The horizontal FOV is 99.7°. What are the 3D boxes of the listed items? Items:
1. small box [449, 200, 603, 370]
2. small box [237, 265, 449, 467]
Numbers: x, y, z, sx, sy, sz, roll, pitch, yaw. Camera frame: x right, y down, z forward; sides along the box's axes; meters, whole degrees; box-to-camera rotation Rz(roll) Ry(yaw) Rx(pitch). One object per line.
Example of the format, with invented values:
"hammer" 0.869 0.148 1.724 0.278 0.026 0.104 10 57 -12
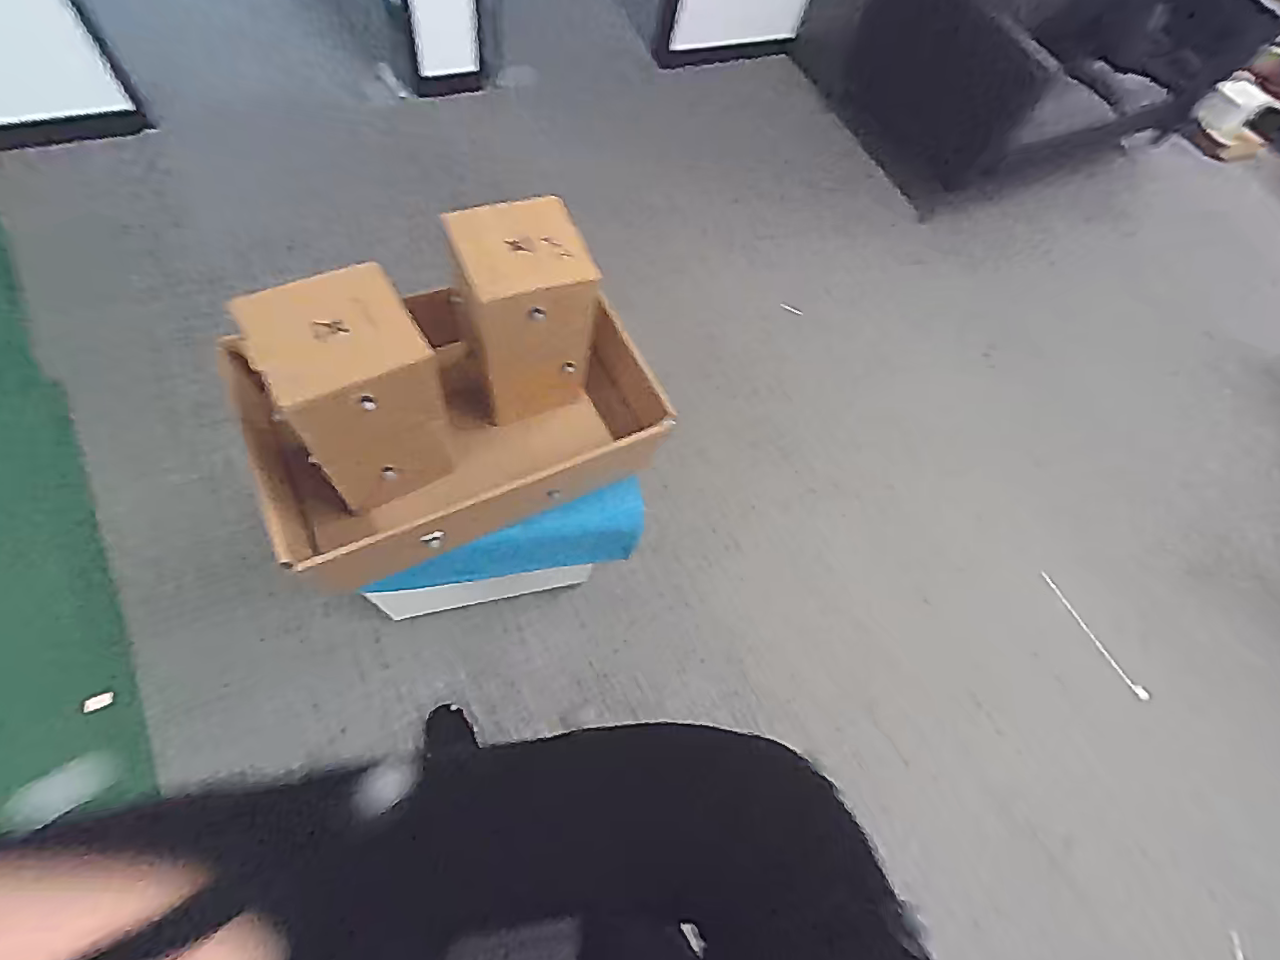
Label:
"small box" -0.174 -0.291 0.827 0.179 0.176 0.168 -19 71 -20
"small box" -0.375 -0.143 0.714 0.179 0.176 0.168 -28 74 -23
